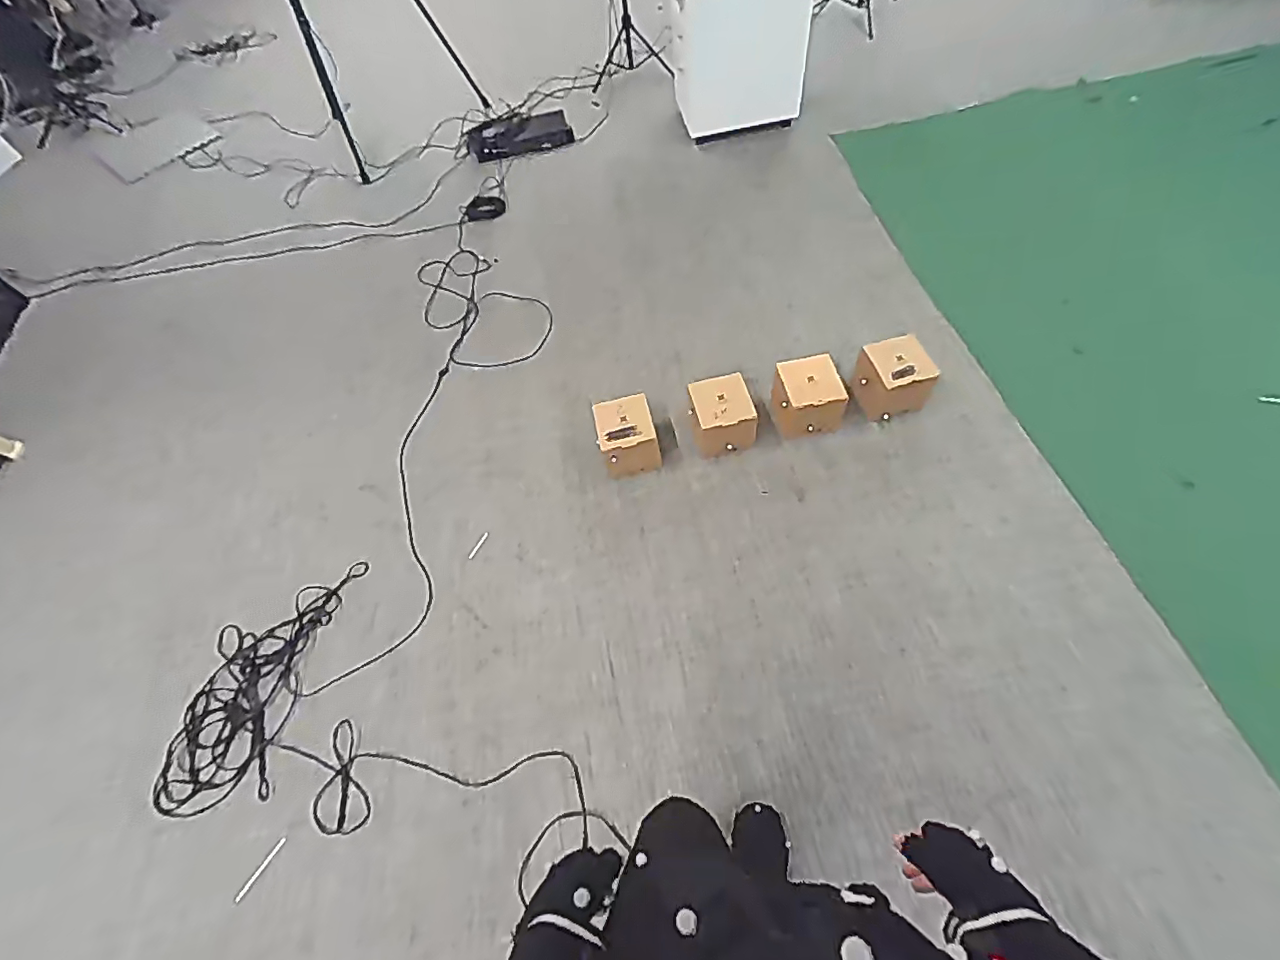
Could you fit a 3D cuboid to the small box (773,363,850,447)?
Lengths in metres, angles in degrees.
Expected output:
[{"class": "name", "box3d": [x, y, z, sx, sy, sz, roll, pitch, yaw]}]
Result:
[{"class": "small box", "box3d": [0.516, -0.228, 1.656, 0.168, 0.176, 0.179, -11, 59, 0]}]

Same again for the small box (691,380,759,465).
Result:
[{"class": "small box", "box3d": [0.254, -0.172, 1.652, 0.168, 0.176, 0.179, -13, 59, 0]}]

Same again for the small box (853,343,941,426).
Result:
[{"class": "small box", "box3d": [0.779, -0.284, 1.658, 0.168, 0.176, 0.179, -14, 58, -1]}]
